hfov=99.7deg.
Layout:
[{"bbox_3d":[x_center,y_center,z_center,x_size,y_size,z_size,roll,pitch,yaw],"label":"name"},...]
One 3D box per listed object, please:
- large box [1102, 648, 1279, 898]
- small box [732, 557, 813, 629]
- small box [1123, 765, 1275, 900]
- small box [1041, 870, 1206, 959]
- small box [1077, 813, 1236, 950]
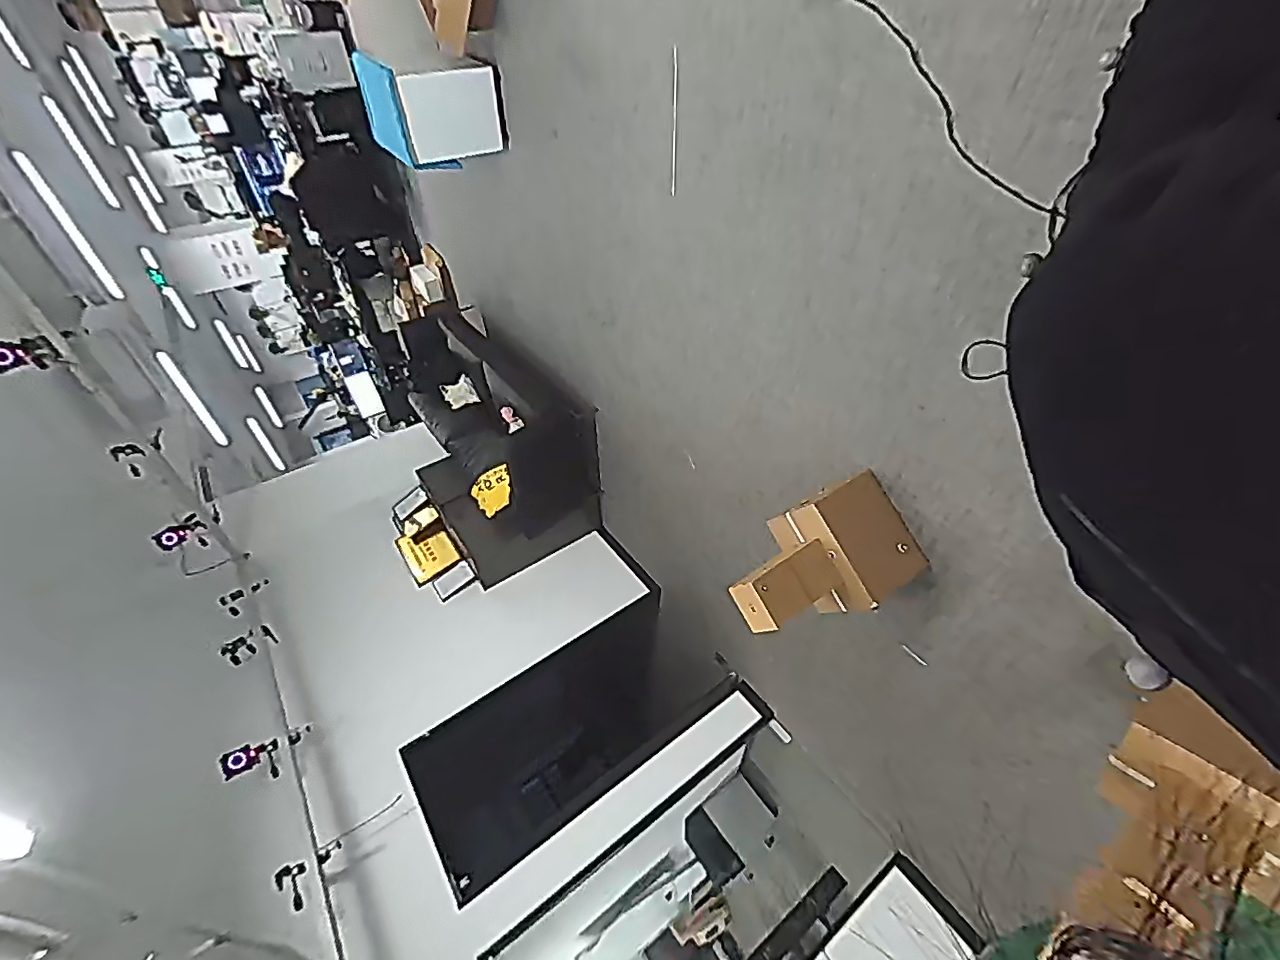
[{"bbox_3d":[1.412,0.676,1.251,0.408,0.320,0.320,31,142,47],"label":"large box"},{"bbox_3d":[0.454,0.386,1.847,0.179,0.176,0.168,61,155,8],"label":"small box"},{"bbox_3d":[1.198,0.768,1.170,0.179,0.176,0.168,36,143,45],"label":"small box"},{"bbox_3d":[0.930,0.906,1.042,0.168,0.176,0.179,37,143,45],"label":"small box"},{"bbox_3d":[1.060,0.835,1.112,0.168,0.176,0.179,38,144,43],"label":"small box"}]
